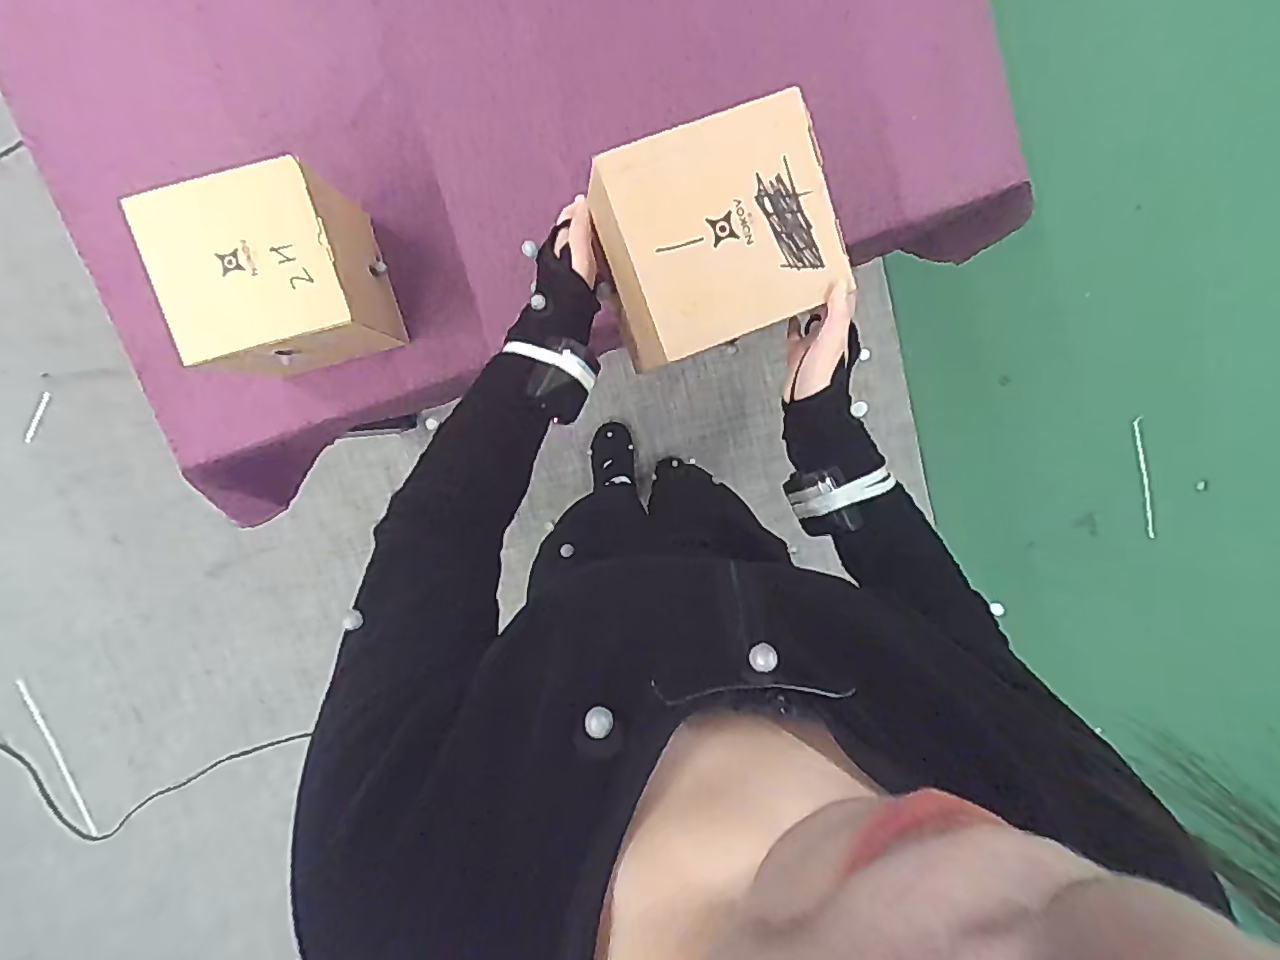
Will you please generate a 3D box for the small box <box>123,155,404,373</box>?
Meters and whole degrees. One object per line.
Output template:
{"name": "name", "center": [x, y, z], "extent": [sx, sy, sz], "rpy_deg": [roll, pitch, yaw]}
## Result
{"name": "small box", "center": [-0.402, -0.226, 0.612], "extent": [0.179, 0.176, 0.168], "rpy_deg": [-16, 98, -3]}
